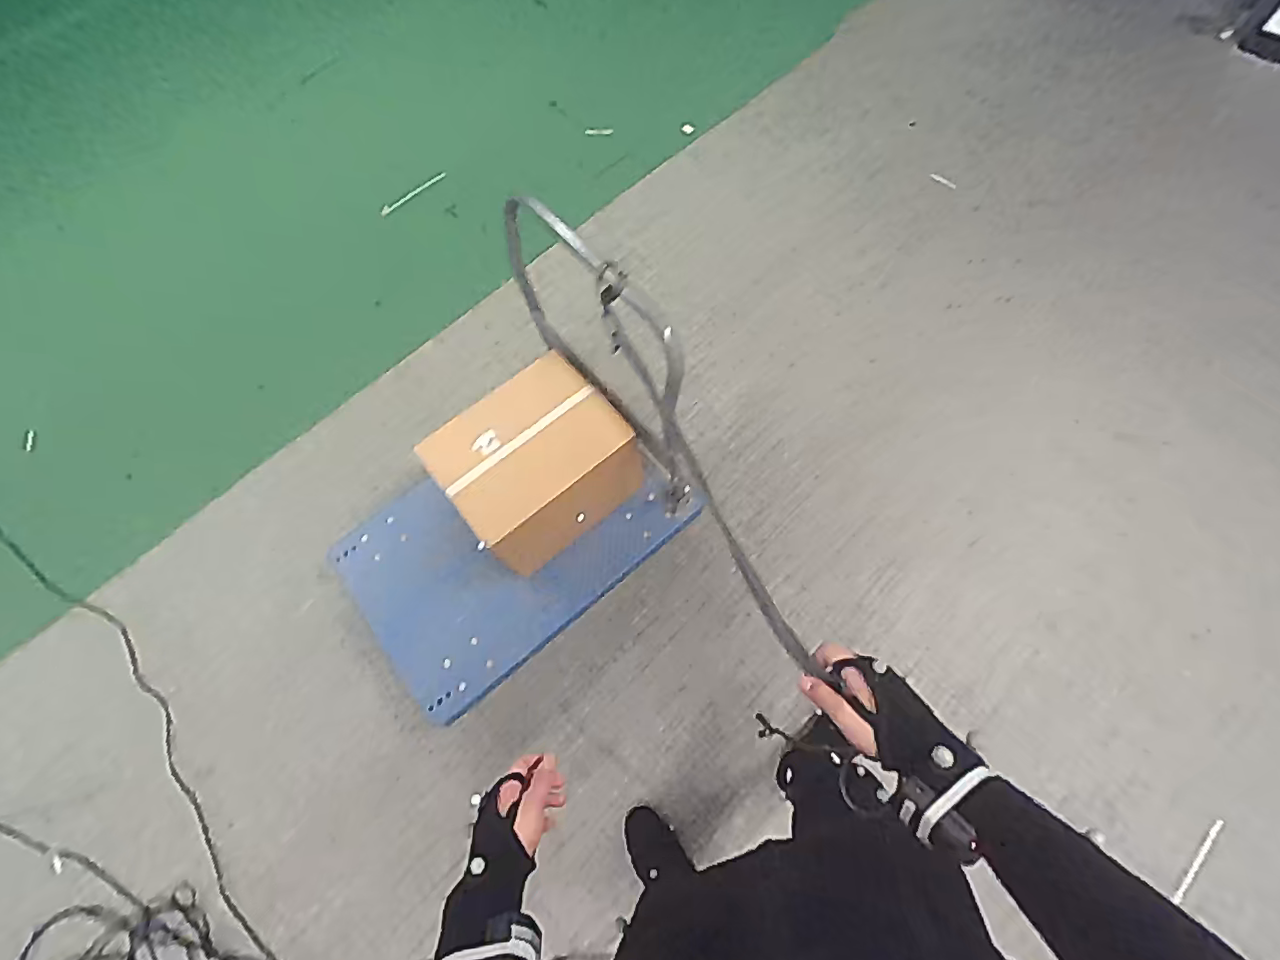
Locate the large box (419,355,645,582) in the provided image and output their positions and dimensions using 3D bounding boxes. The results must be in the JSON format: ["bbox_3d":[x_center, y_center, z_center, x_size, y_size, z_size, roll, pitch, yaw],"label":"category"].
[{"bbox_3d":[-0.238,-0.017,1.326,0.408,0.320,0.320,-39,70,-11],"label":"large box"}]
